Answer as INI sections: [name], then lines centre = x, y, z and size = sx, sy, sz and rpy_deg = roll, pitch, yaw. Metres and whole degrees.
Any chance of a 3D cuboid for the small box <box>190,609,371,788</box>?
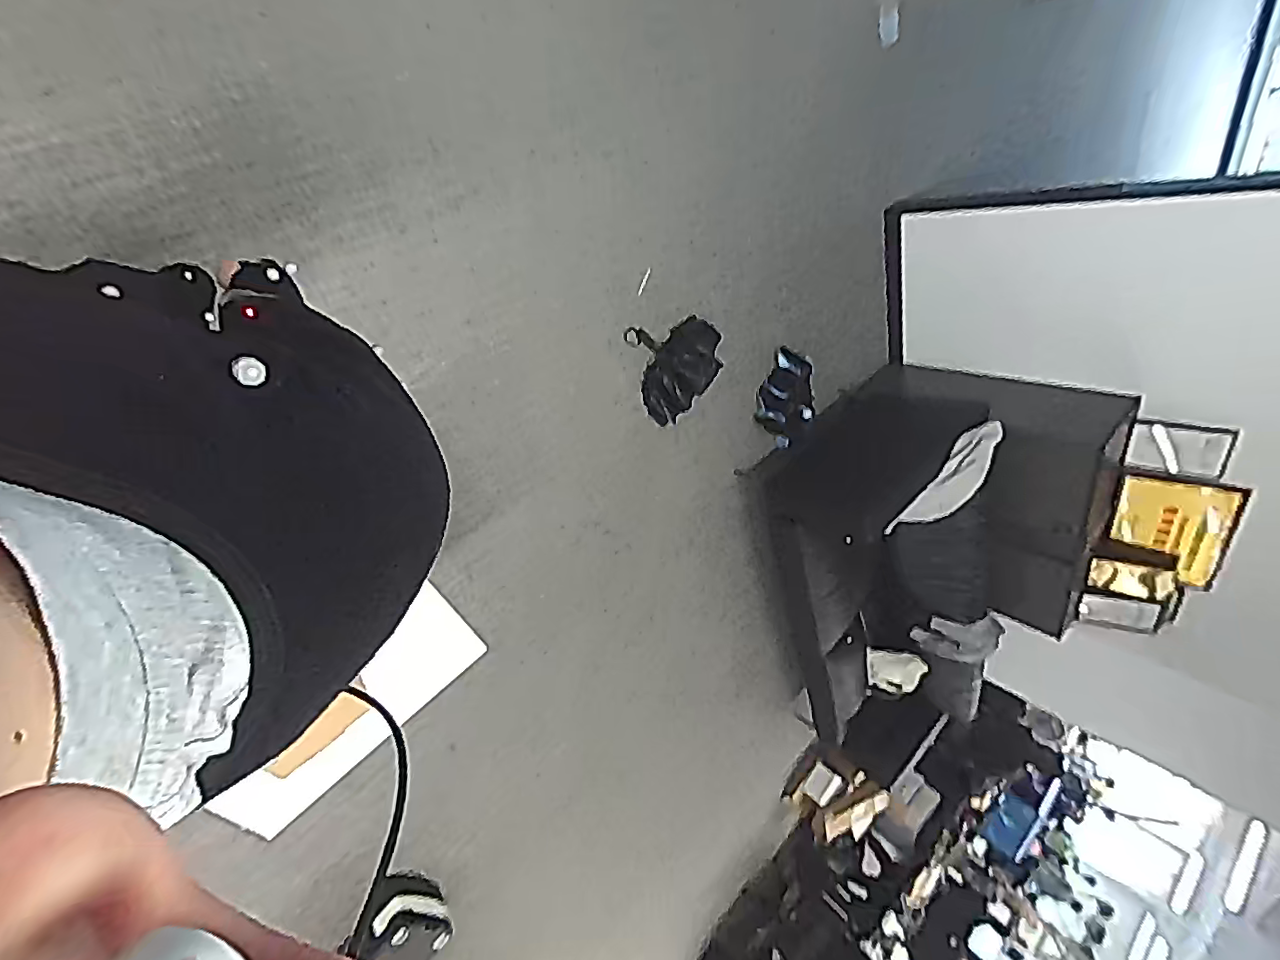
[small box]
centre = -0.576, 0.341, 0.871
size = 0.168, 0.176, 0.179
rpy_deg = -40, 130, -22
